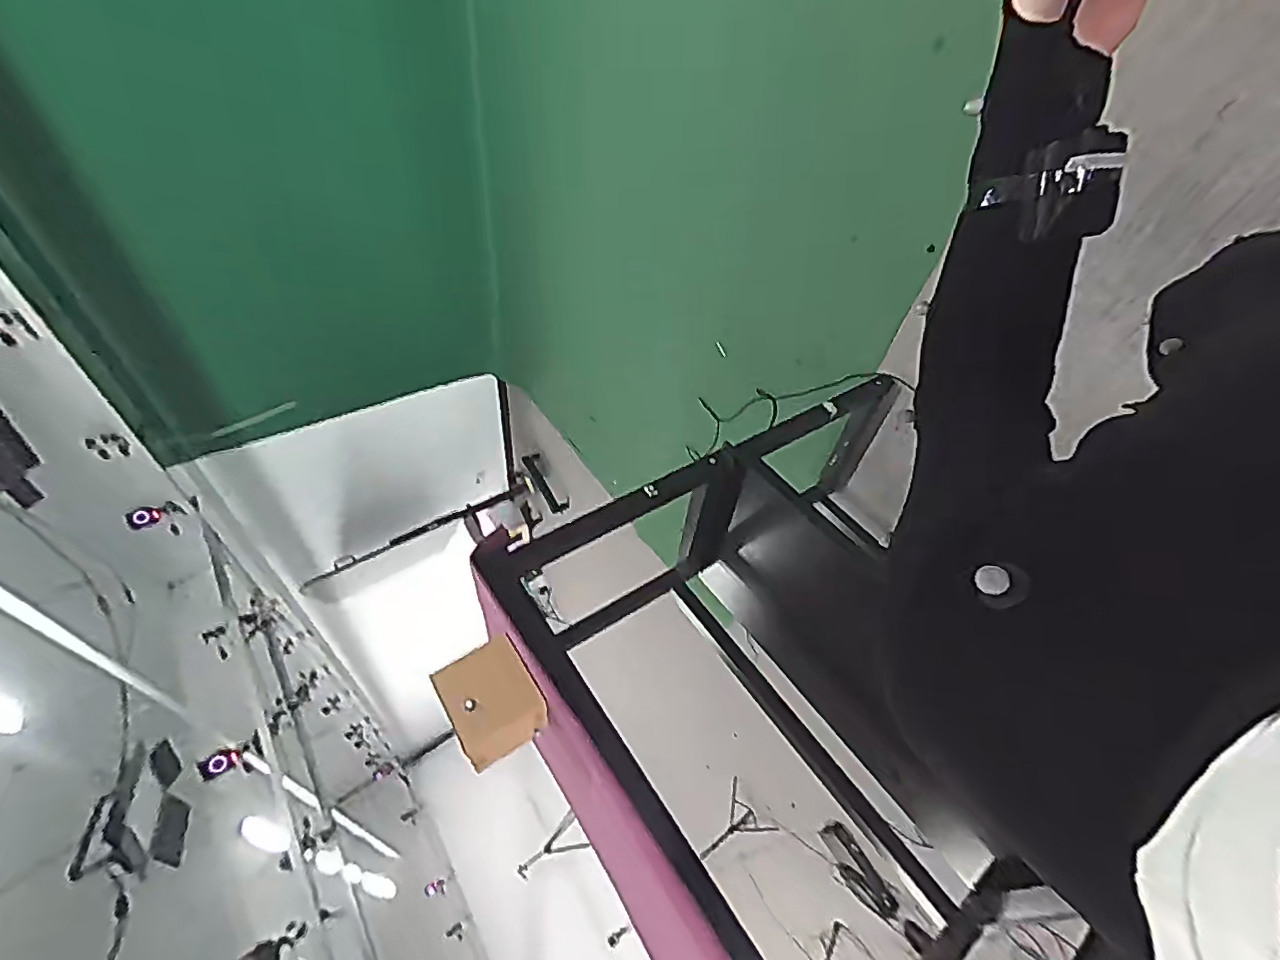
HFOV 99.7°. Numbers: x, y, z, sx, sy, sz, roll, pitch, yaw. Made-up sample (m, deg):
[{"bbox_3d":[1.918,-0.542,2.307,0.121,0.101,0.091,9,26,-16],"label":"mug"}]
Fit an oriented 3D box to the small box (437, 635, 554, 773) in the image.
[{"bbox_3d":[-0.286,0.455,1.108,0.179,0.176,0.168,47,149,29],"label":"small box"}]
